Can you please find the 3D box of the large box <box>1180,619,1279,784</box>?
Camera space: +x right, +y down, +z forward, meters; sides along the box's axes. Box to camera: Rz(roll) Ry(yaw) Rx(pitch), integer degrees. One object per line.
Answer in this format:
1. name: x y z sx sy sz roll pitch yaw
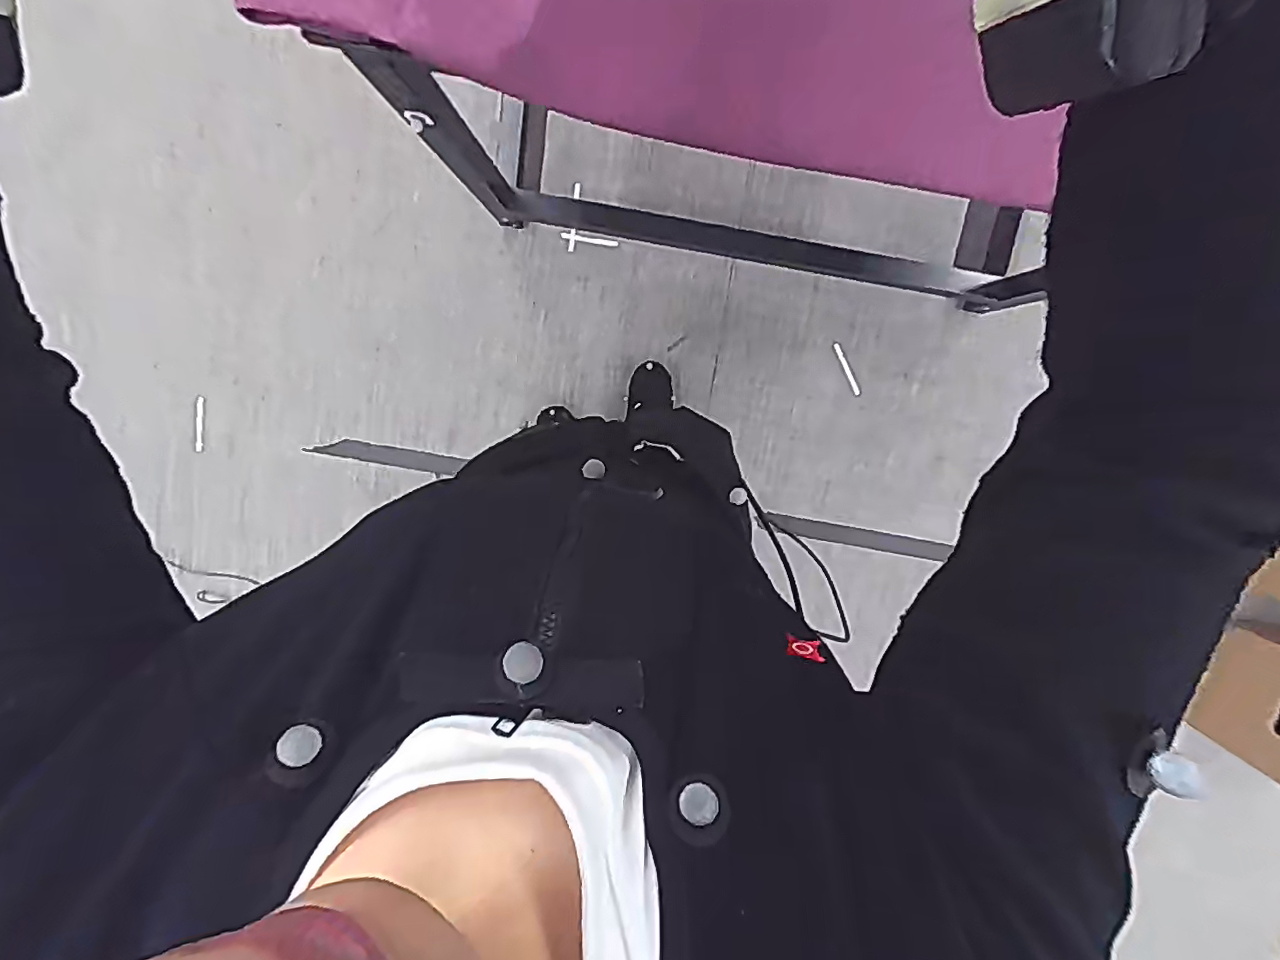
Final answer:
1. large box: 1.702 0.566 1.320 0.408 0.320 0.320 8 100 0
